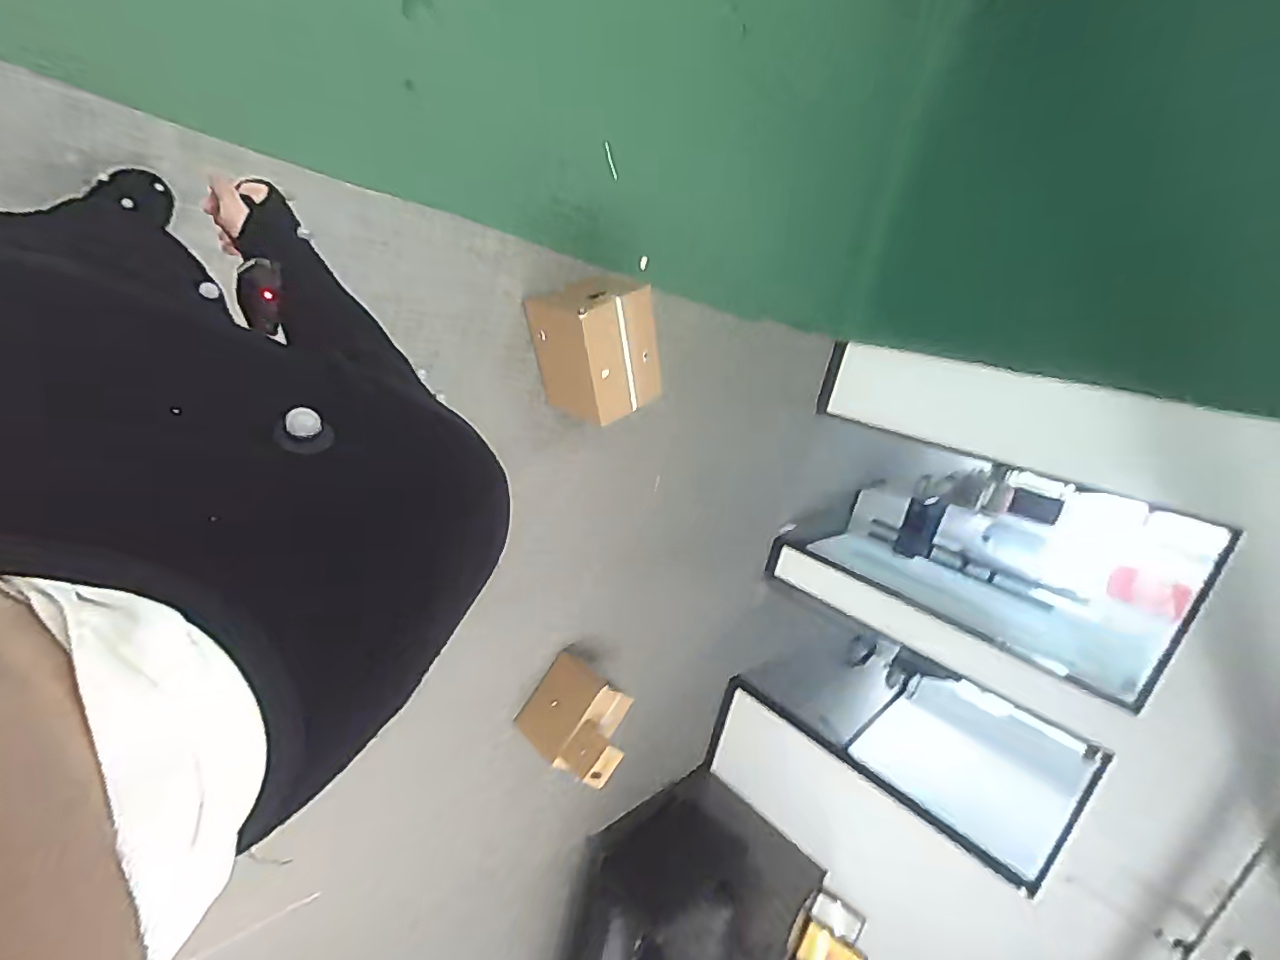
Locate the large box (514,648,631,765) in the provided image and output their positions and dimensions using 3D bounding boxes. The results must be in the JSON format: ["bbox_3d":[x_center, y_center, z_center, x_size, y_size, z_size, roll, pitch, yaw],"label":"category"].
[{"bbox_3d":[-0.324,1.092,2.609,0.408,0.320,0.320,-57,141,-10],"label":"large box"}]
